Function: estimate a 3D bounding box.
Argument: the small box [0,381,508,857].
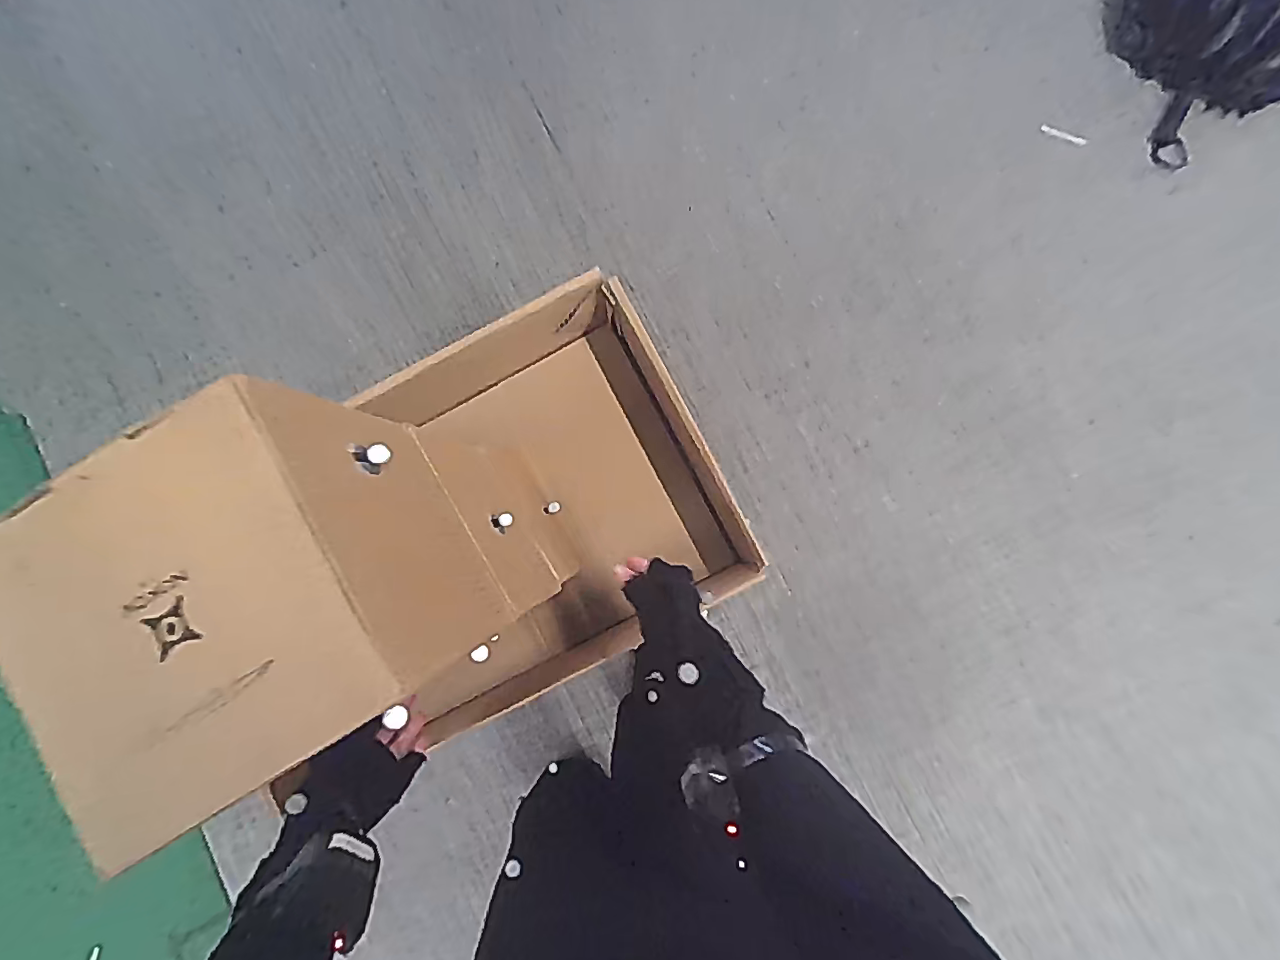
[{"bbox_3d":[-0.213,0.069,0.339,0.168,0.176,0.179,-32,86,2],"label":"small box"}]

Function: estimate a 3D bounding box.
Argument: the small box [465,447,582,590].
[{"bbox_3d":[-0.193,0.084,0.664,0.168,0.176,0.179,-33,85,2],"label":"small box"}]

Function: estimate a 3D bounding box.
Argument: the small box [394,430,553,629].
[{"bbox_3d":[-0.204,0.079,0.500,0.168,0.176,0.179,-32,86,1],"label":"small box"}]
